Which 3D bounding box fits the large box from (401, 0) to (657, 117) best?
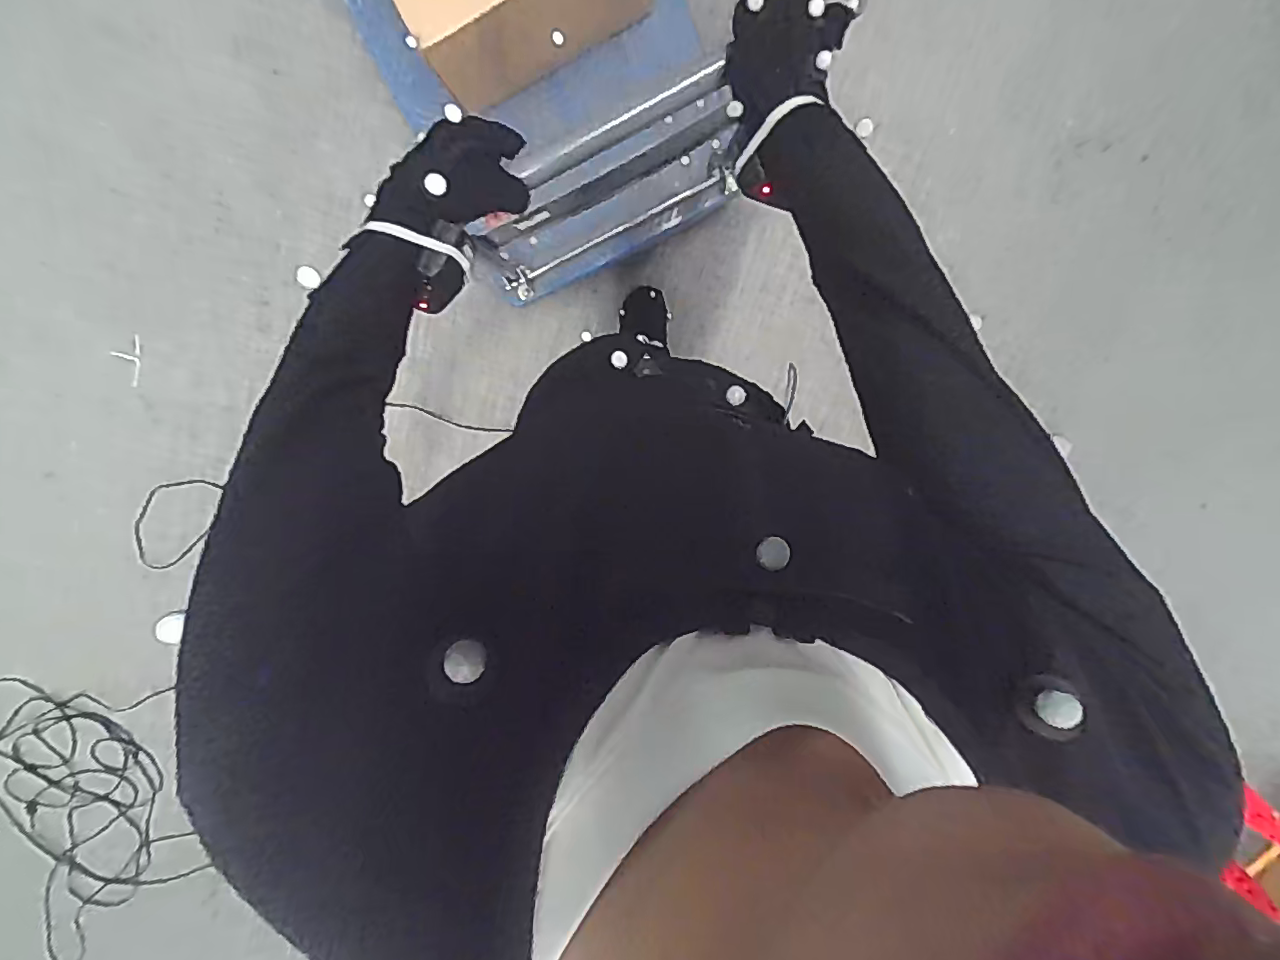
[{"bbox_3d":[-0.204,-0.882,0.865,0.408,0.320,0.320,-27,107,7],"label":"large box"}]
